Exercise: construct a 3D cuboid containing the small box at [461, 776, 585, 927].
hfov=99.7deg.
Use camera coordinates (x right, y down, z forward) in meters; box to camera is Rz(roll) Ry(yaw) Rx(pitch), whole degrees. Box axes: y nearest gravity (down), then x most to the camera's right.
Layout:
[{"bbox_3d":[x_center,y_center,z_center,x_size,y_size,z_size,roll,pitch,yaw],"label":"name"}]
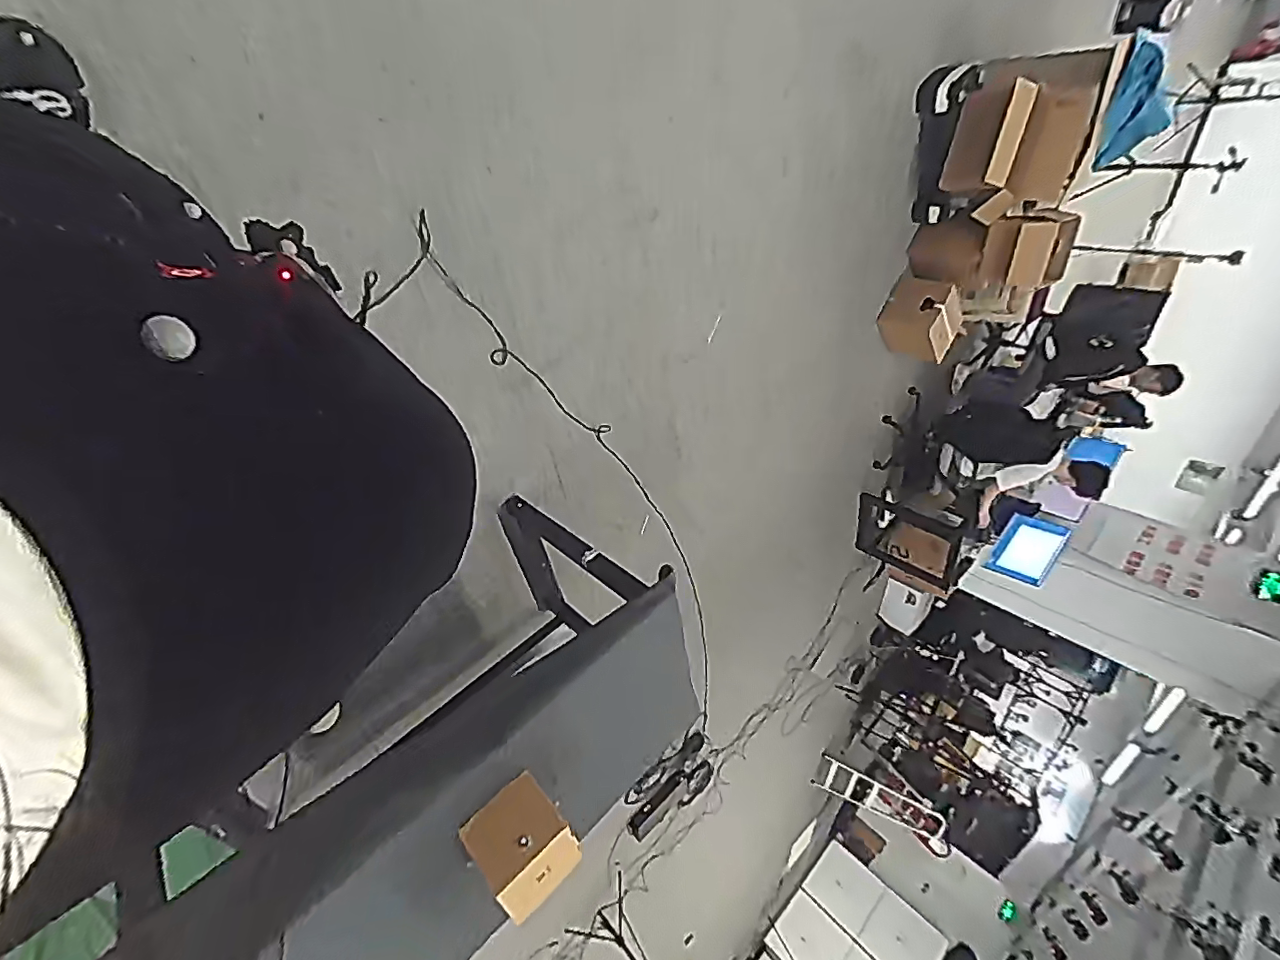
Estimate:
[{"bbox_3d":[-0.247,0.779,1.149,0.179,0.176,0.168,-34,131,-29],"label":"small box"}]
